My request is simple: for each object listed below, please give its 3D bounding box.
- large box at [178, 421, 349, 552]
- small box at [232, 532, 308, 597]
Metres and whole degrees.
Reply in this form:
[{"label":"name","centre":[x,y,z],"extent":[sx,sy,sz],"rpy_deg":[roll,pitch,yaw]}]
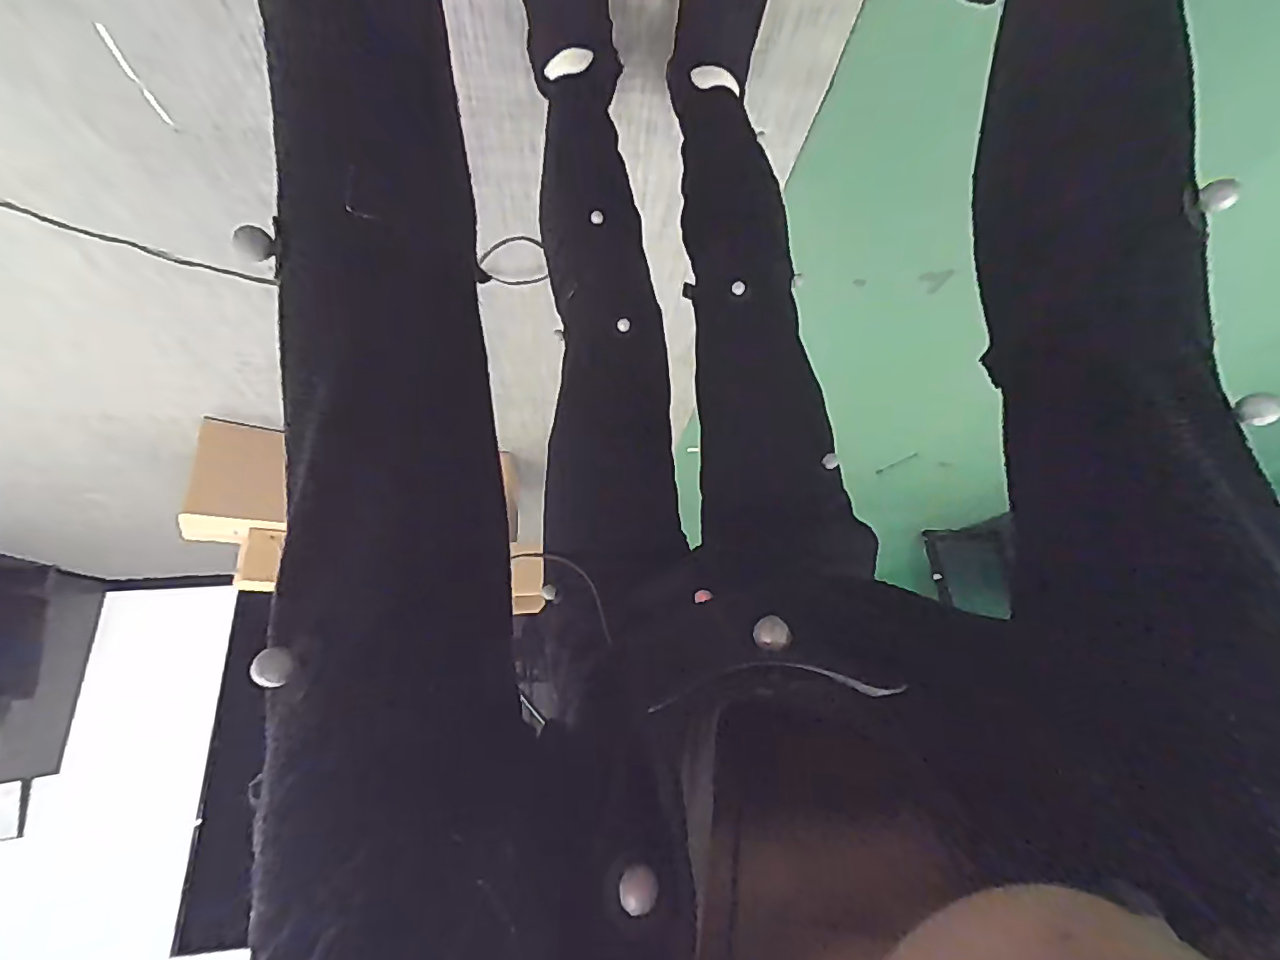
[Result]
[{"label":"large box","centre":[-1.235,0.038,1.802],"extent":[0.408,0.320,0.320],"rpy_deg":[13,153,-34]},{"label":"small box","centre":[-1.192,0.275,1.745],"extent":[0.168,0.176,0.179],"rpy_deg":[14,153,-38]}]
